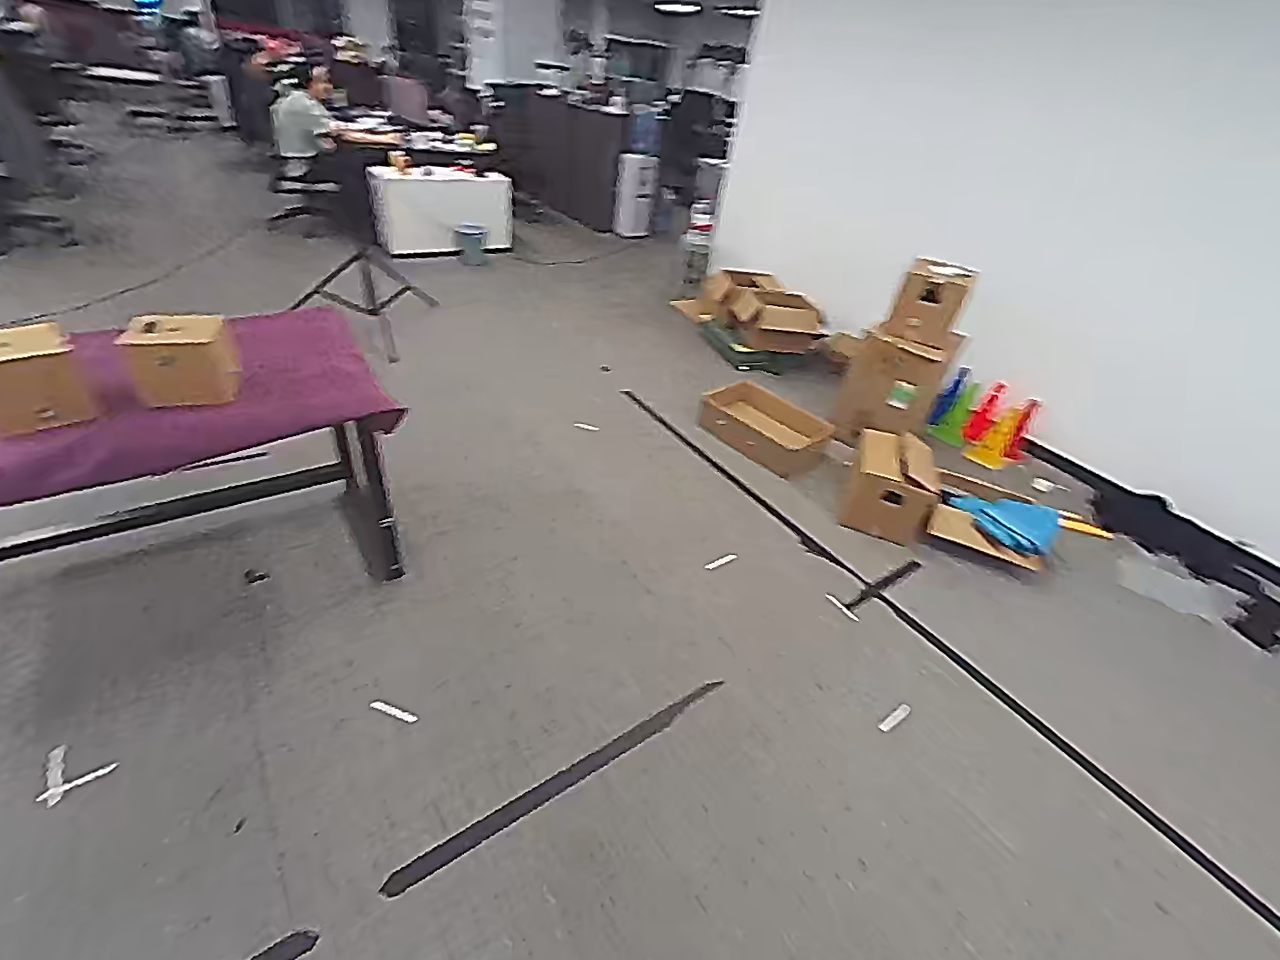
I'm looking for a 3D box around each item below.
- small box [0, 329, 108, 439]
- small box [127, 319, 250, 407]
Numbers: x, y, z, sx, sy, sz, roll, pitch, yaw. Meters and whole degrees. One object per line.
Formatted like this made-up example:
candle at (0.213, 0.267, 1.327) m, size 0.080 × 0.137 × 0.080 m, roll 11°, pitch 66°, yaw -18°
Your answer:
small box at (-1.348, -0.217, 1.214) m, size 0.168 × 0.176 × 0.179 m, roll 33°, pitch 42°, yaw 29°
small box at (-1.122, -0.293, 1.360) m, size 0.179 × 0.176 × 0.168 m, roll -7°, pitch 39°, yaw -21°
